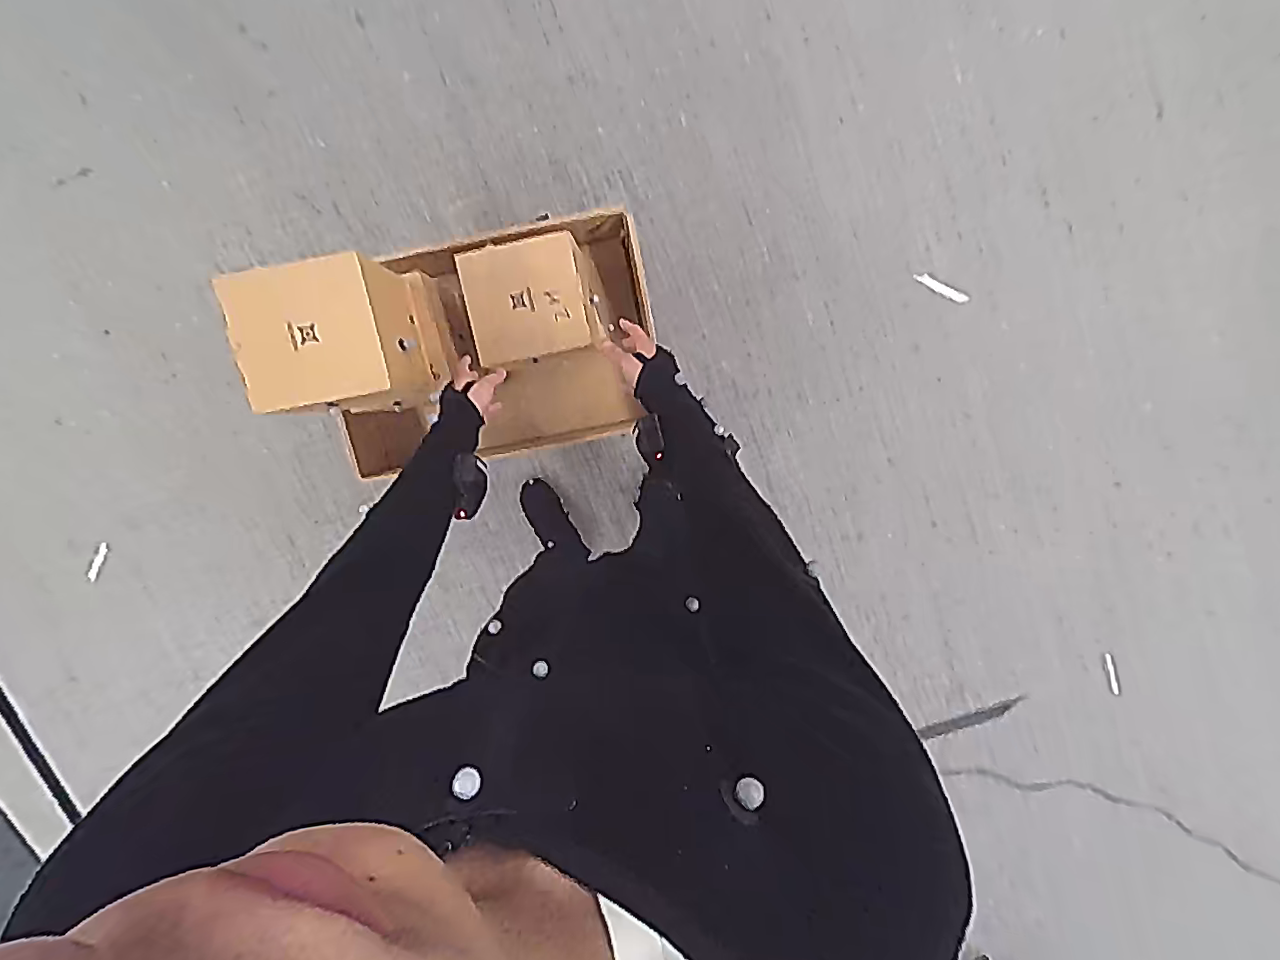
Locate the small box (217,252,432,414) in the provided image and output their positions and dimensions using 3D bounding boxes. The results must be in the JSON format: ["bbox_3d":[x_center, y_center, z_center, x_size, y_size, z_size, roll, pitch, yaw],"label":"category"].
[{"bbox_3d":[-0.398,-0.188,0.724,0.179,0.176,0.168,-11,99,1],"label":"small box"}]
